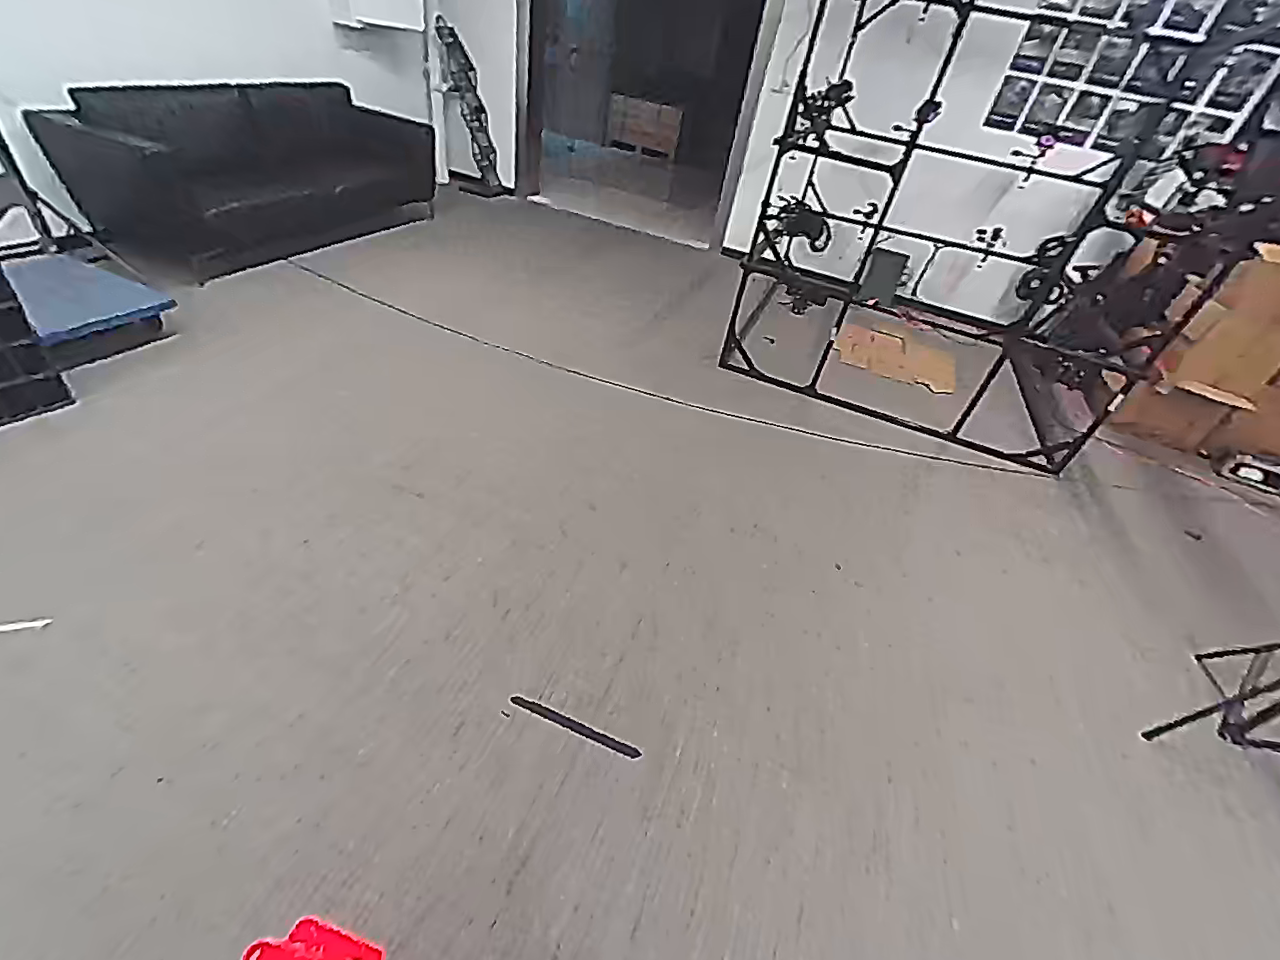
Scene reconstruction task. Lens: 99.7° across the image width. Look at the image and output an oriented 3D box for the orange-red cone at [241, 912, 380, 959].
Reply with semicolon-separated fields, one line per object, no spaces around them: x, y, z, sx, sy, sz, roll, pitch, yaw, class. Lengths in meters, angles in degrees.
-0.606;0.834;0.918;0.199;0.360;0.198;17;38;9;orange-red cone
